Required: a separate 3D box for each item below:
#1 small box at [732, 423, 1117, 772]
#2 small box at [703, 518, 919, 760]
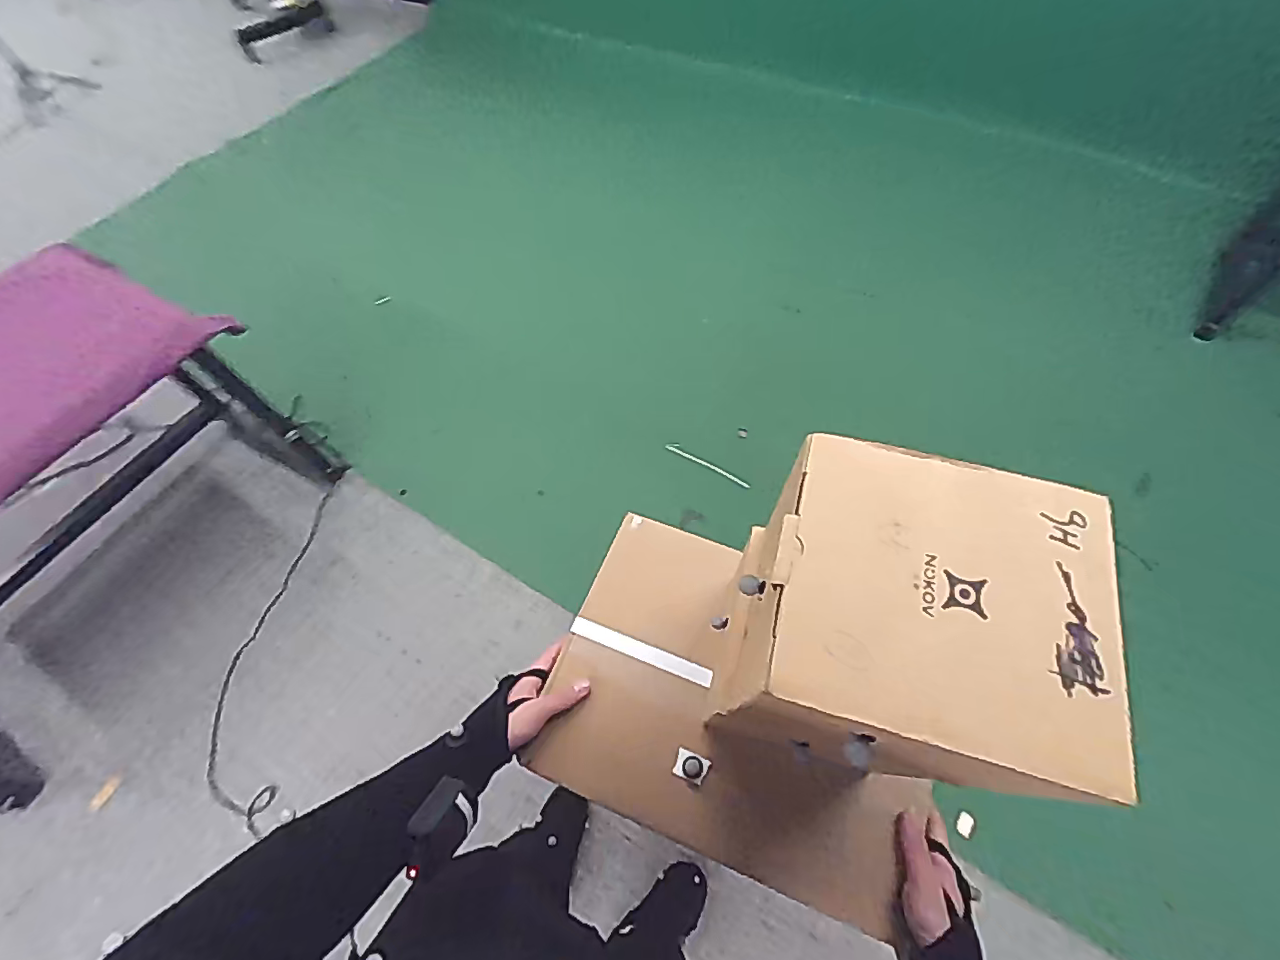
[{"bbox_3d":[0.167,0.087,0.373,0.179,0.176,0.168,13,65,10],"label":"small box"},{"bbox_3d":[0.163,0.159,0.520,0.179,0.176,0.168,13,65,9],"label":"small box"}]
